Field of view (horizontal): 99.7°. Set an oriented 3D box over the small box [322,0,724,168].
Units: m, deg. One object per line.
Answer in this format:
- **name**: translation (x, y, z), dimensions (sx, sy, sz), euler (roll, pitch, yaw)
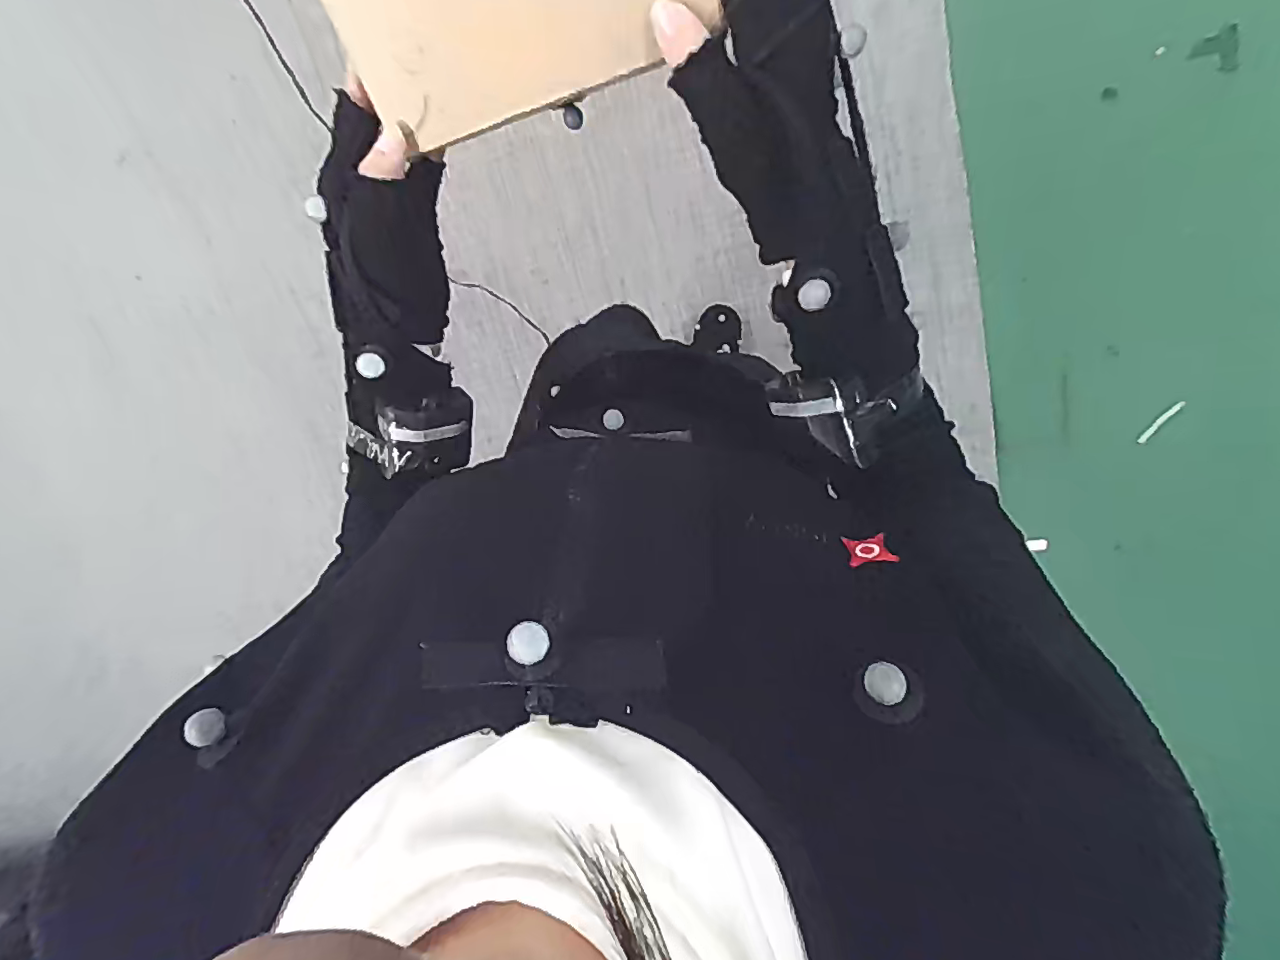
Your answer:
- **small box**: translation (-0.058, -0.293, 0.281), dimensions (0.179, 0.176, 0.168), euler (-9, 128, 17)
